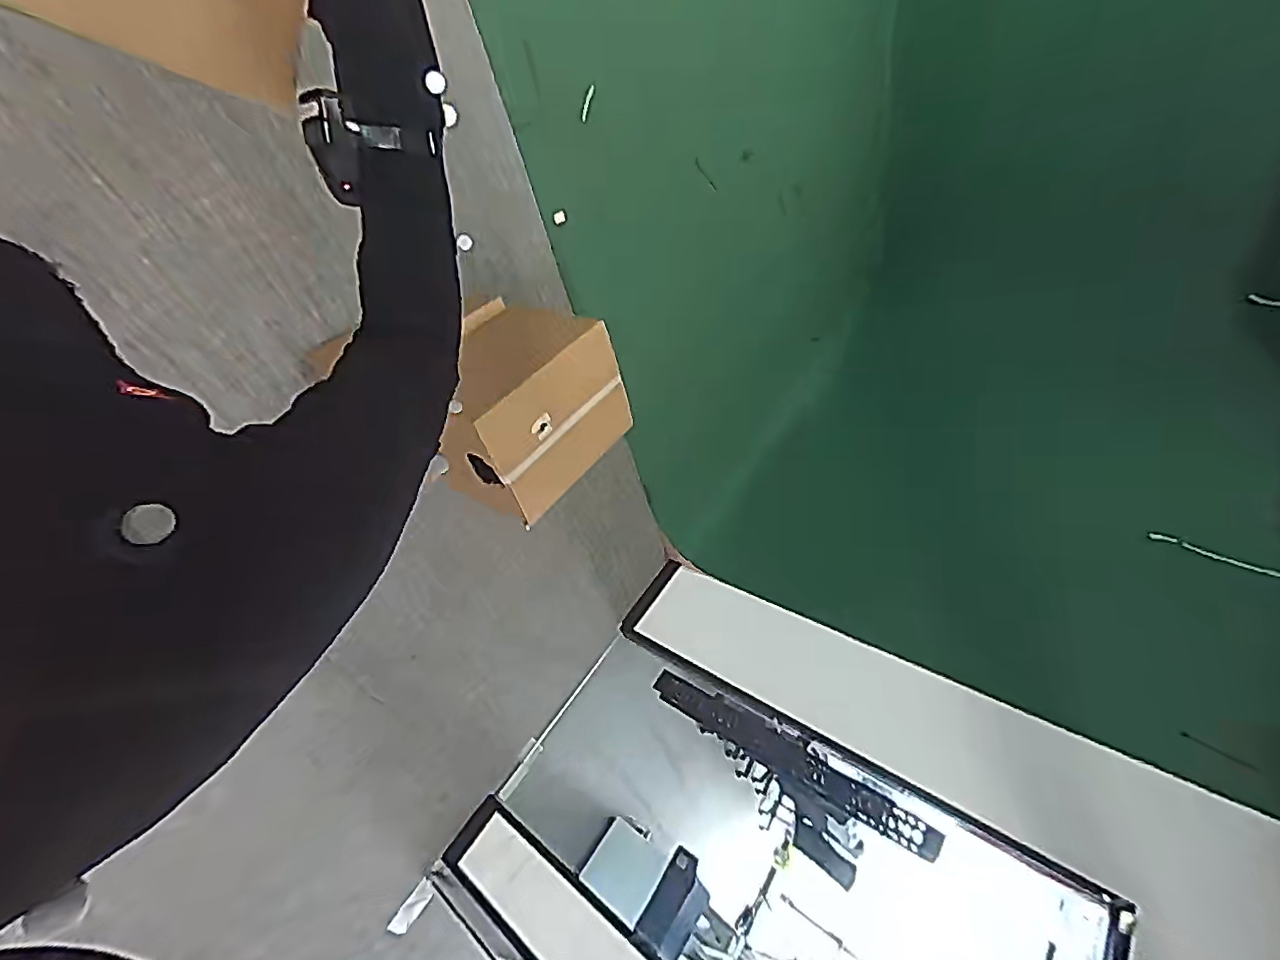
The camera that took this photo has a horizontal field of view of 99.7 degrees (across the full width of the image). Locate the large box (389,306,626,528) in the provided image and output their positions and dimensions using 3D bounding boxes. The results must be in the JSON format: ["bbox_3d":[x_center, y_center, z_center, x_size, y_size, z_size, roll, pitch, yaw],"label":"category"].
[{"bbox_3d":[-0.296,-0.169,1.305,0.408,0.320,0.320,-47,141,-30],"label":"large box"}]
